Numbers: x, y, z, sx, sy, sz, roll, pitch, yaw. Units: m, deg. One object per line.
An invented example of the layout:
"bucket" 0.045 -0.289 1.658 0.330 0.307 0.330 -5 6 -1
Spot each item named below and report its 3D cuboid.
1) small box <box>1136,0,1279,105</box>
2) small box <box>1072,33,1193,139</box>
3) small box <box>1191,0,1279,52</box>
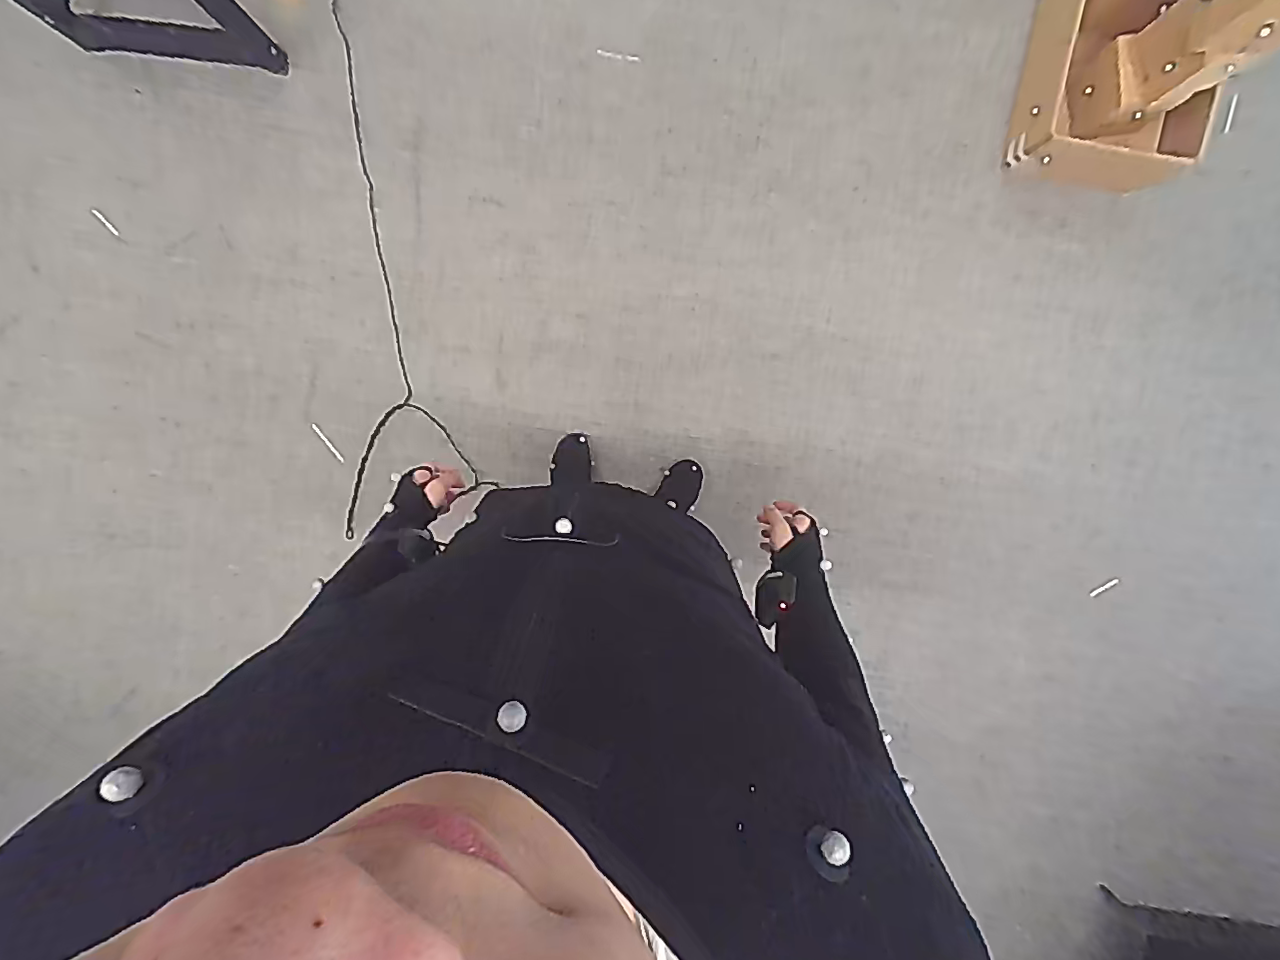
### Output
"small box" 1.295 -1.007 1.240 0.179 0.176 0.168 -17 94 1
"small box" 1.264 -1.017 1.403 0.179 0.176 0.168 -6 94 1
"small box" 1.267 -0.999 1.077 0.168 0.176 0.179 2 96 0
